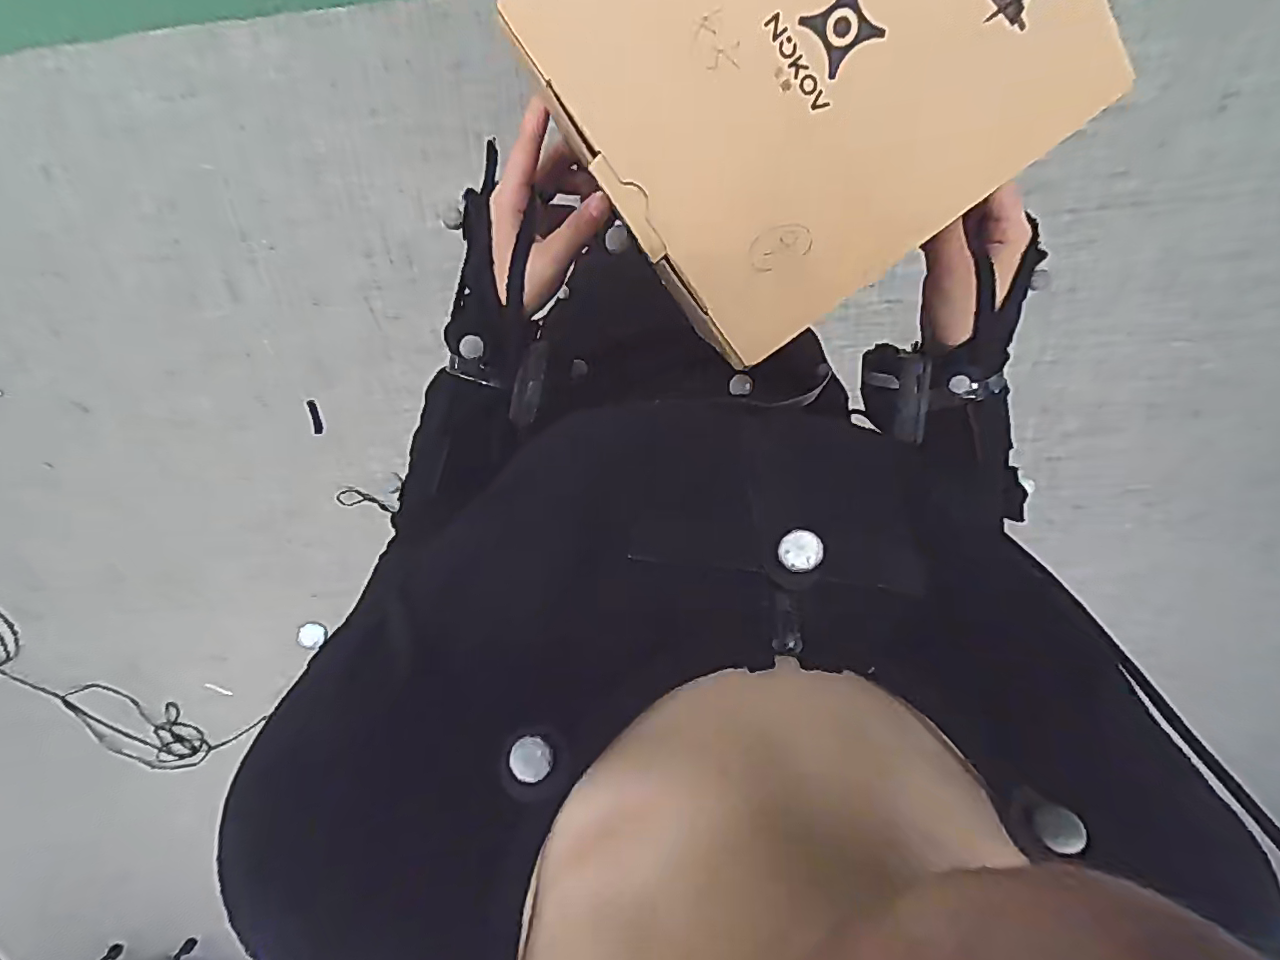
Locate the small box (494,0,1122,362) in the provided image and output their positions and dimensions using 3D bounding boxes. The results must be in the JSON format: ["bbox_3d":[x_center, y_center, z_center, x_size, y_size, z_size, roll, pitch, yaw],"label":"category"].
[{"bbox_3d":[0.064,-0.184,0.273,0.179,0.176,0.168,-35,105,13],"label":"small box"}]
